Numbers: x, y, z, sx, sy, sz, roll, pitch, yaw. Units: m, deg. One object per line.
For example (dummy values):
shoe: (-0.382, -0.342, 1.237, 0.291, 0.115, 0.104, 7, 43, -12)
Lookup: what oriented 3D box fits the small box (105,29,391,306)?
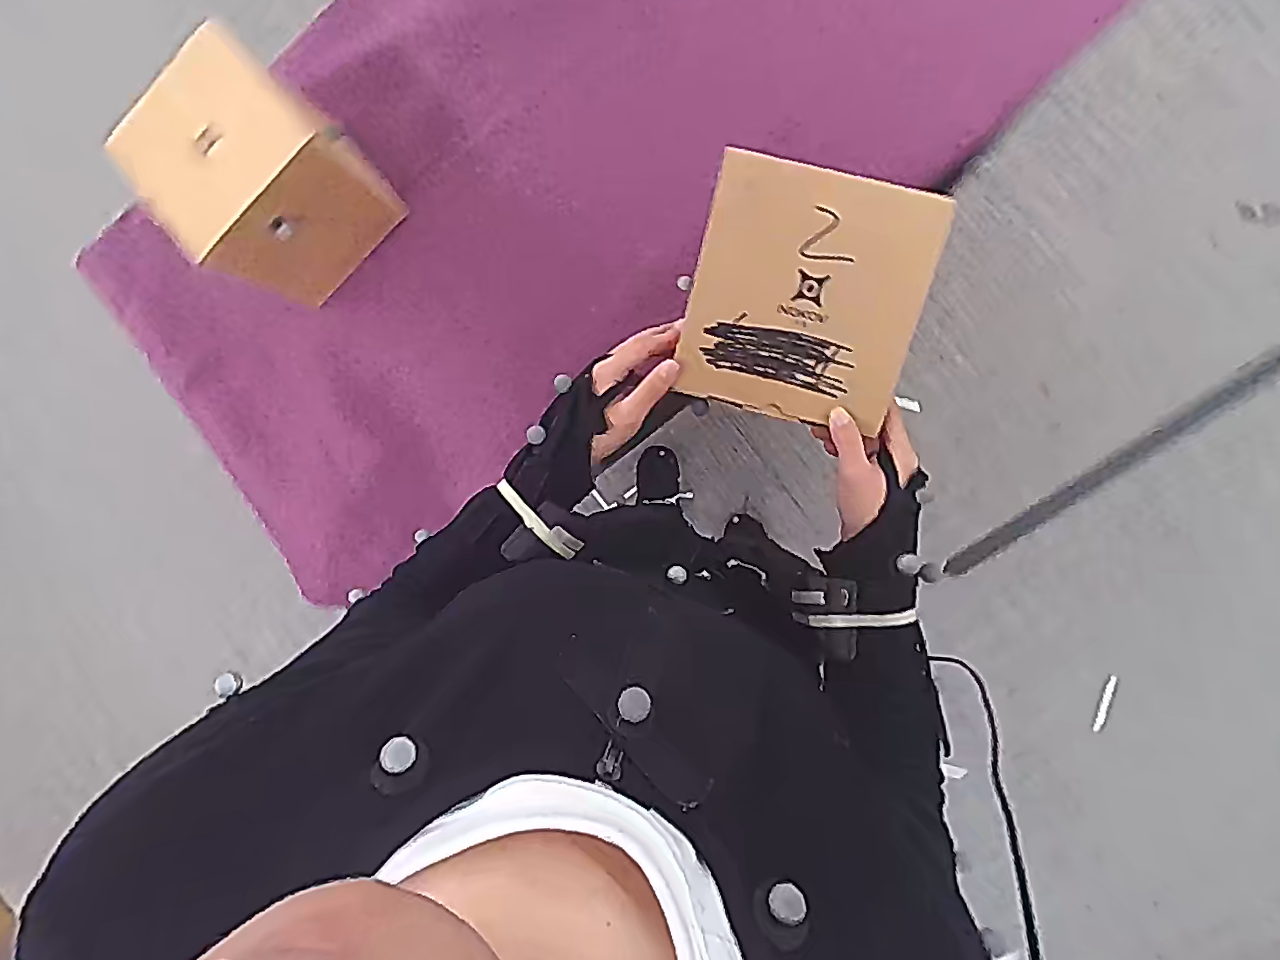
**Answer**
small box: (-0.421, -0.333, 0.617, 0.179, 0.176, 0.168, -42, 86, 8)
